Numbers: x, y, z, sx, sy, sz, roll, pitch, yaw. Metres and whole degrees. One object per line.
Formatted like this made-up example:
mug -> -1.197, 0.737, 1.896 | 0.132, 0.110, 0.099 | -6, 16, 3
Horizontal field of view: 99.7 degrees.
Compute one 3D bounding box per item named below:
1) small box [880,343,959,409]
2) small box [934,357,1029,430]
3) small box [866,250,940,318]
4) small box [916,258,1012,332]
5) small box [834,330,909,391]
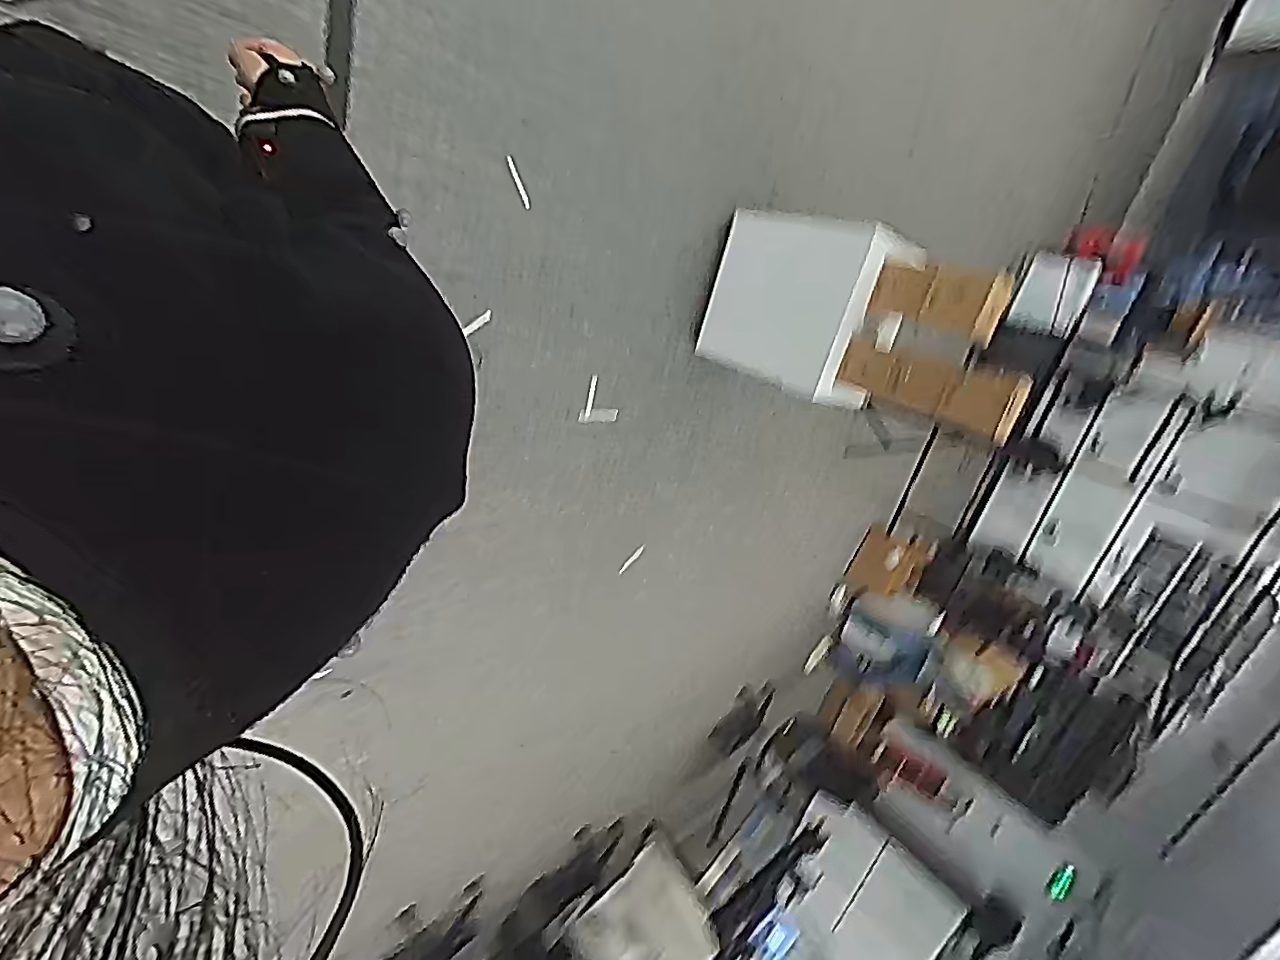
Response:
small box -> 0.880, -0.319, 1.673 | 0.179, 0.176, 0.168 | -2, 115, -43
small box -> 0.984, -0.252, 1.564 | 0.179, 0.176, 0.168 | -2, 114, -46
small box -> 0.849, -0.617, 1.702 | 0.179, 0.176, 0.168 | -7, 119, -42
small box -> 0.950, -0.547, 1.596 | 0.179, 0.176, 0.168 | -6, 119, -43
small box -> 0.768, -0.385, 1.772 | 0.179, 0.176, 0.168 | -2, 114, -43
